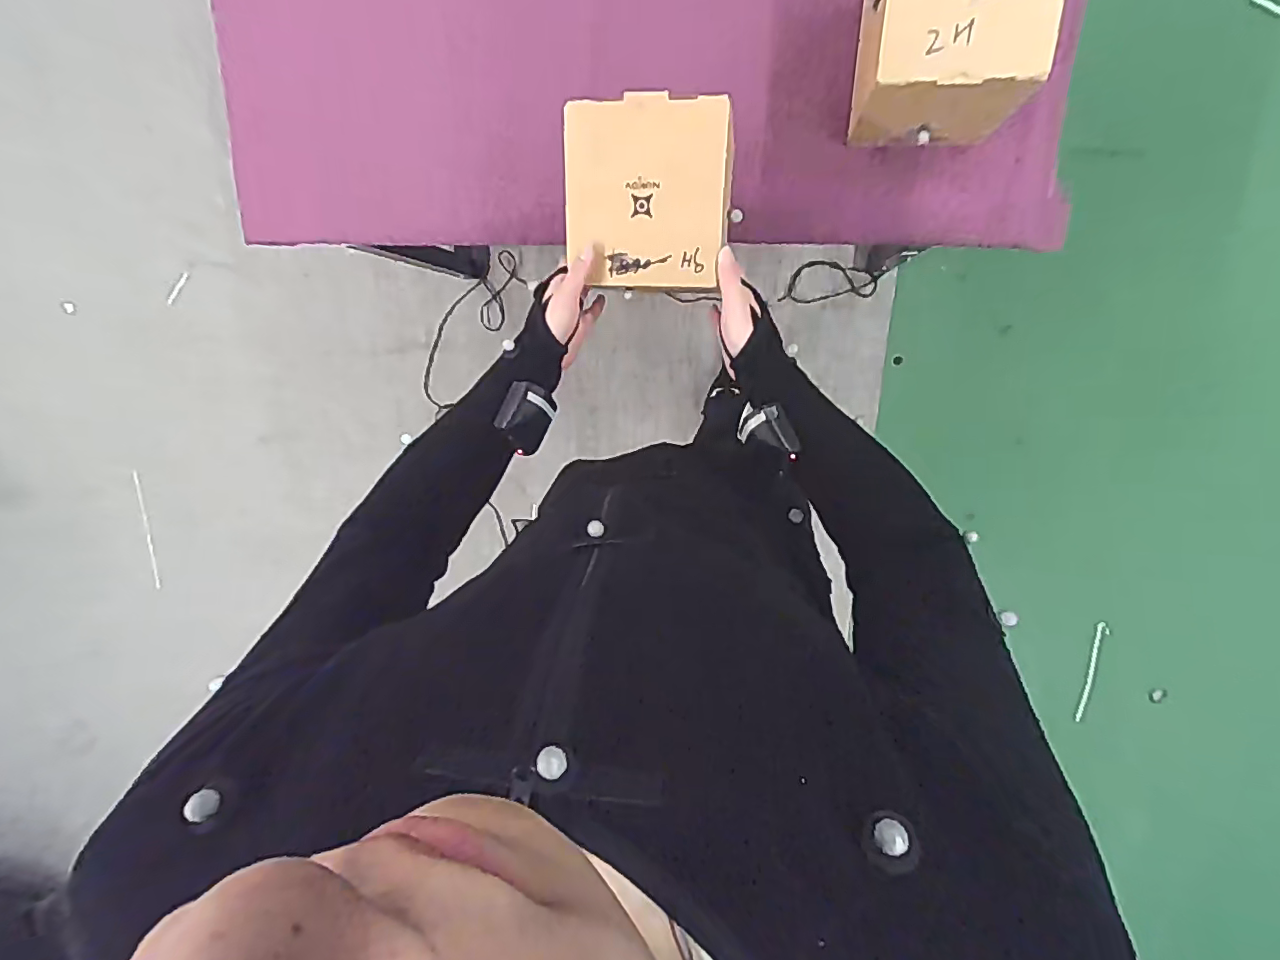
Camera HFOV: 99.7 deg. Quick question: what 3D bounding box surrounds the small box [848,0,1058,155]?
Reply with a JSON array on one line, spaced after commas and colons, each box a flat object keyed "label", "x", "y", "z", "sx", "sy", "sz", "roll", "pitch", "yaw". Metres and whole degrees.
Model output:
[{"label": "small box", "x": 0.344, "y": -0.500, "z": 0.617, "sx": 0.168, "sy": 0.176, "sz": 0.179, "roll": 6, "pitch": 102, "yaw": 11}]

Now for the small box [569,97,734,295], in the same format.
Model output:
[{"label": "small box", "x": 0.019, "y": -0.313, "z": 0.629, "sx": 0.168, "sy": 0.176, "sz": 0.179, "roll": 5, "pitch": 108, "yaw": 9}]
